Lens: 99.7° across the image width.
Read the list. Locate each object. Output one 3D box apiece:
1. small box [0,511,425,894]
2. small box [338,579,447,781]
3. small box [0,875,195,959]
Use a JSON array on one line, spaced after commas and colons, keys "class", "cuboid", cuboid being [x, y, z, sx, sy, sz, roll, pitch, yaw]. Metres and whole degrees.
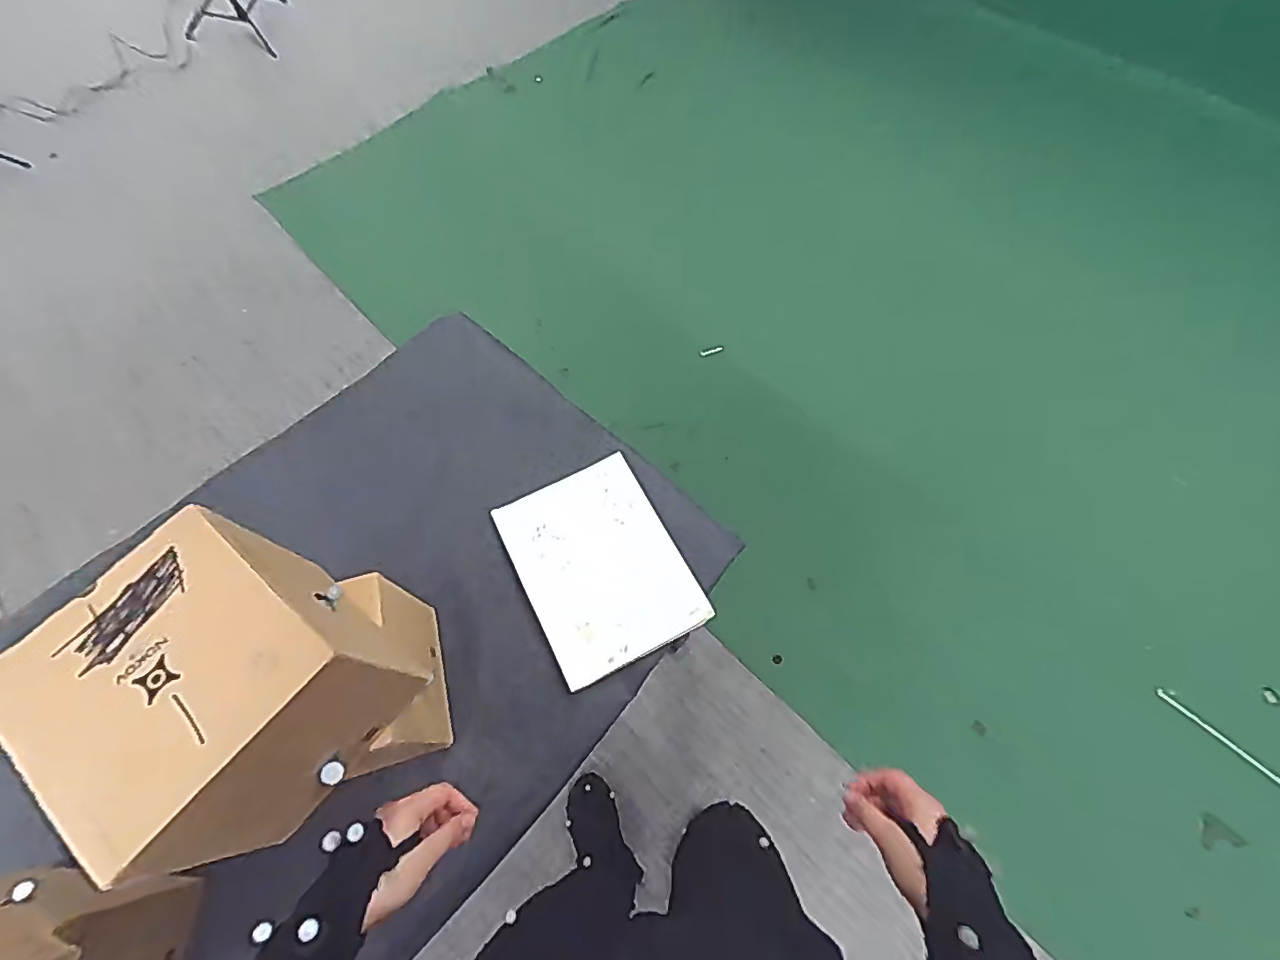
[{"class": "small box", "cuboid": [-0.308, 0.160, 0.418, 0.179, 0.176, 0.168, 36, 71, 16]}, {"class": "small box", "cuboid": [-0.318, 0.223, 0.571, 0.179, 0.176, 0.168, -16, 65, -6]}, {"class": "small box", "cuboid": [-0.544, 0.457, 0.461, 0.179, 0.176, 0.168, 3, 64, 2]}]
